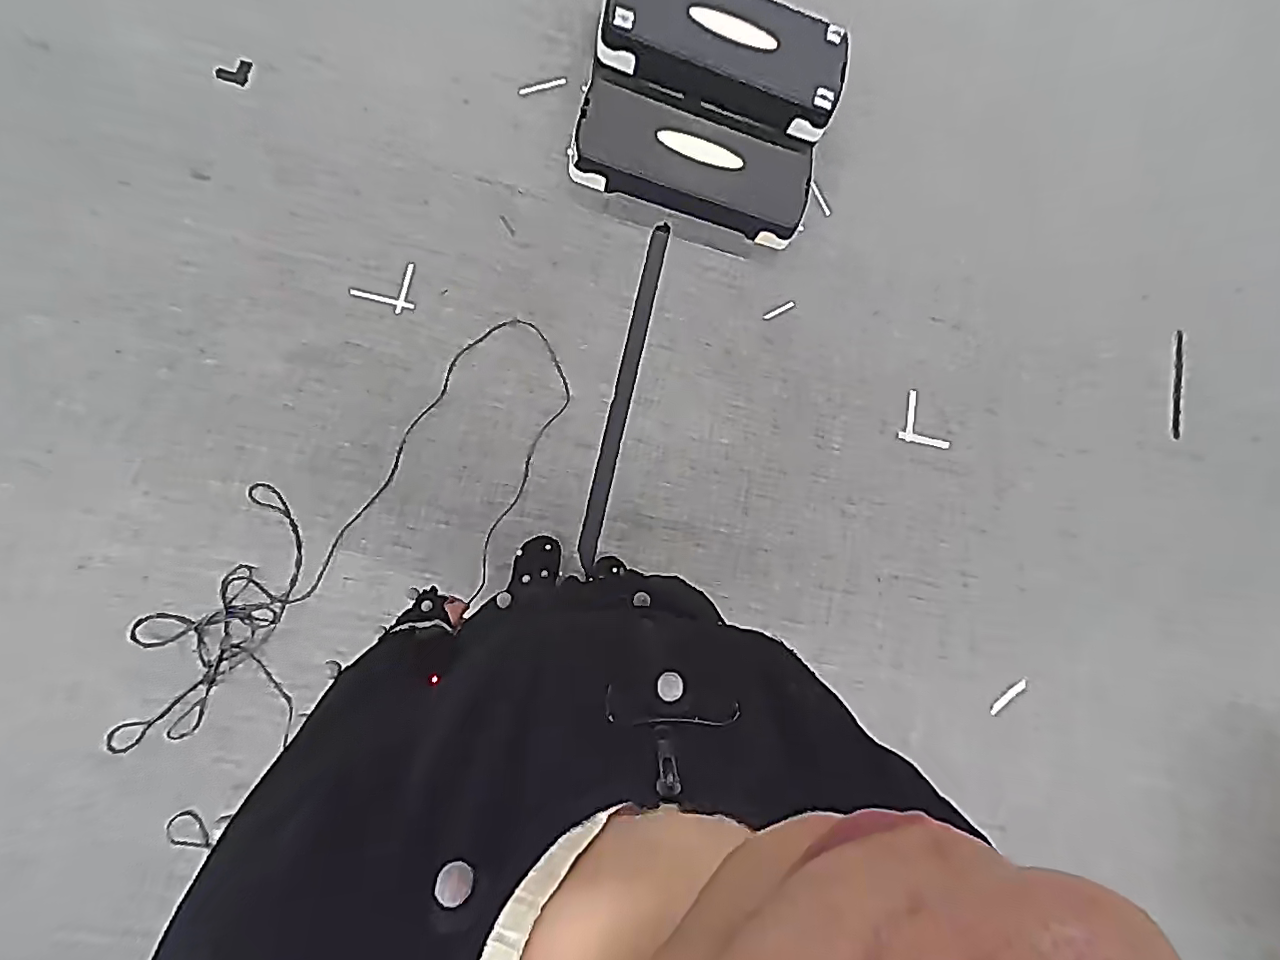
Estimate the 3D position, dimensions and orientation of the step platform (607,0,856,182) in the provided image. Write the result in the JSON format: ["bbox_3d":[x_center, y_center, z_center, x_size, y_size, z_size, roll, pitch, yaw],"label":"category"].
[{"bbox_3d":[0.262,-1.139,1.540,0.684,0.204,0.286,18,80,-9],"label":"step platform"}]
